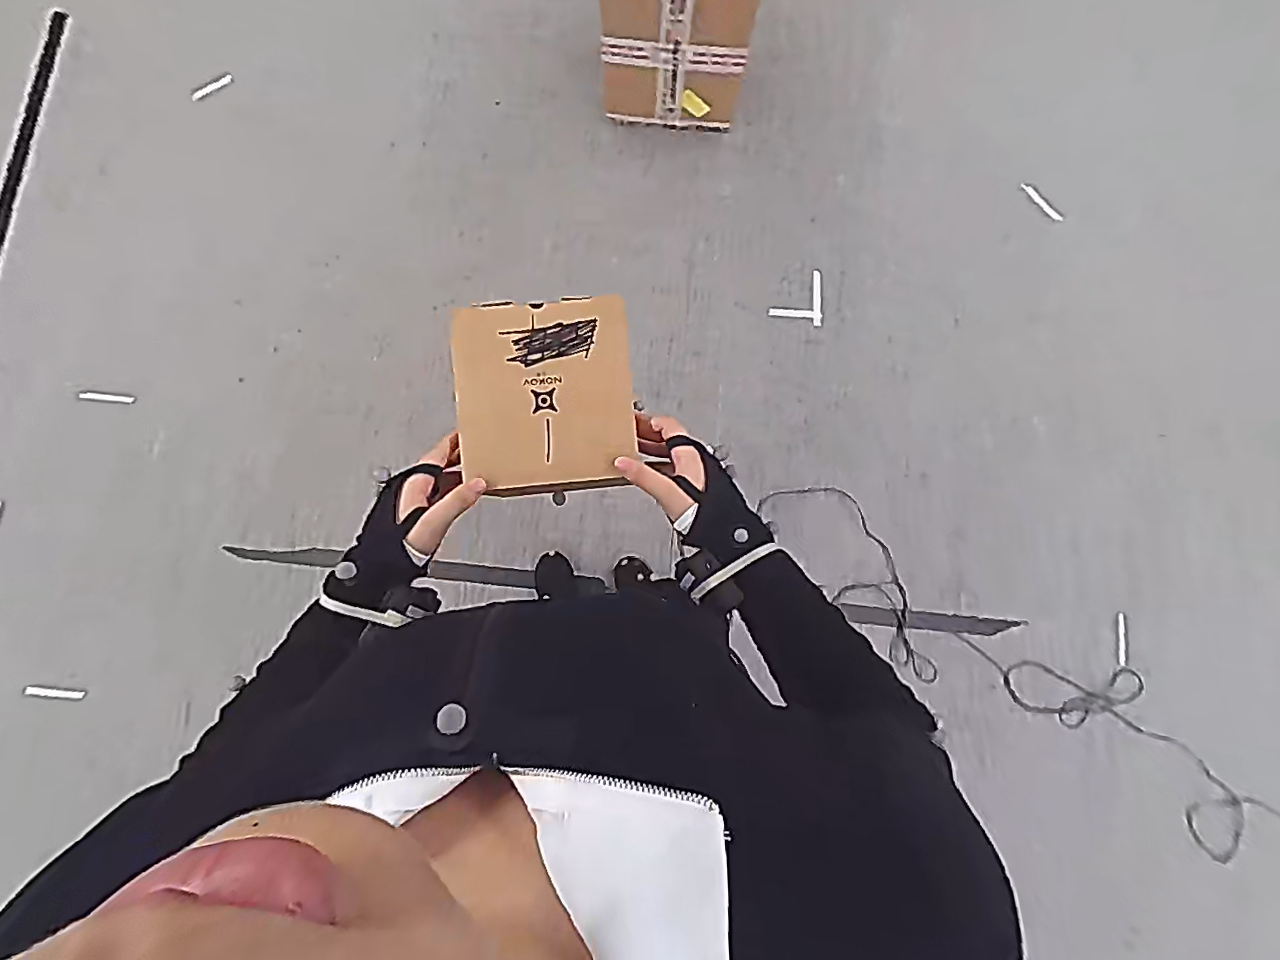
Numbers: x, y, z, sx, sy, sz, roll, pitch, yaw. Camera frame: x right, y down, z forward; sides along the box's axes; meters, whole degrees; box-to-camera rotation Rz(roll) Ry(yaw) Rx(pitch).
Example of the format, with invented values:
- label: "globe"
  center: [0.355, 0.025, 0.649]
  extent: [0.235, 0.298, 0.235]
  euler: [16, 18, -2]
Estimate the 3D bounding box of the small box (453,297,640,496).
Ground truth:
- label: "small box"
  center: [-0.093, -0.078, 0.582]
  extent: [0.168, 0.176, 0.179]
  euler: [-5, 87, -3]
